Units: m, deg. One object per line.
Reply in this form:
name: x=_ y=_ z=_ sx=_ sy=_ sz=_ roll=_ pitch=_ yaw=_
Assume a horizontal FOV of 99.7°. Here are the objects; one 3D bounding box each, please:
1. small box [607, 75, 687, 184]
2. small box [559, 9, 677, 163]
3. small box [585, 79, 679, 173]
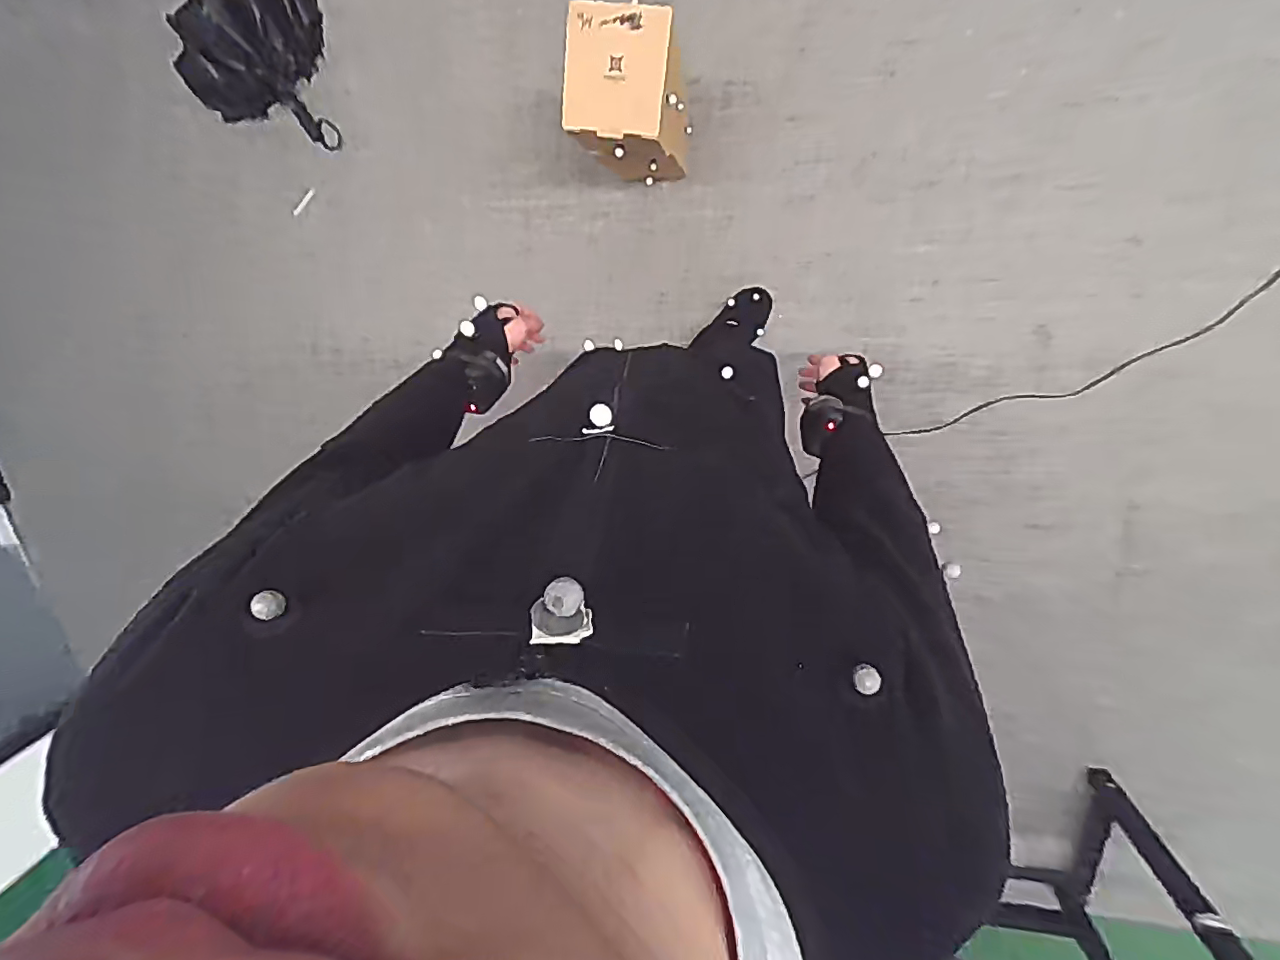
small box: x=0.015 y=-0.779 z=1.217 sx=0.168 sy=0.176 sz=0.179 roll=3 pitch=113 yaw=9
small box: x=-0.032 y=-0.654 z=0.920 sx=0.168 sy=0.176 sz=0.179 roll=10 pitch=113 yaw=5
small box: x=-0.012 y=-0.717 z=1.071 sx=0.168 sy=0.176 sz=0.179 roll=3 pitch=111 yaw=8
